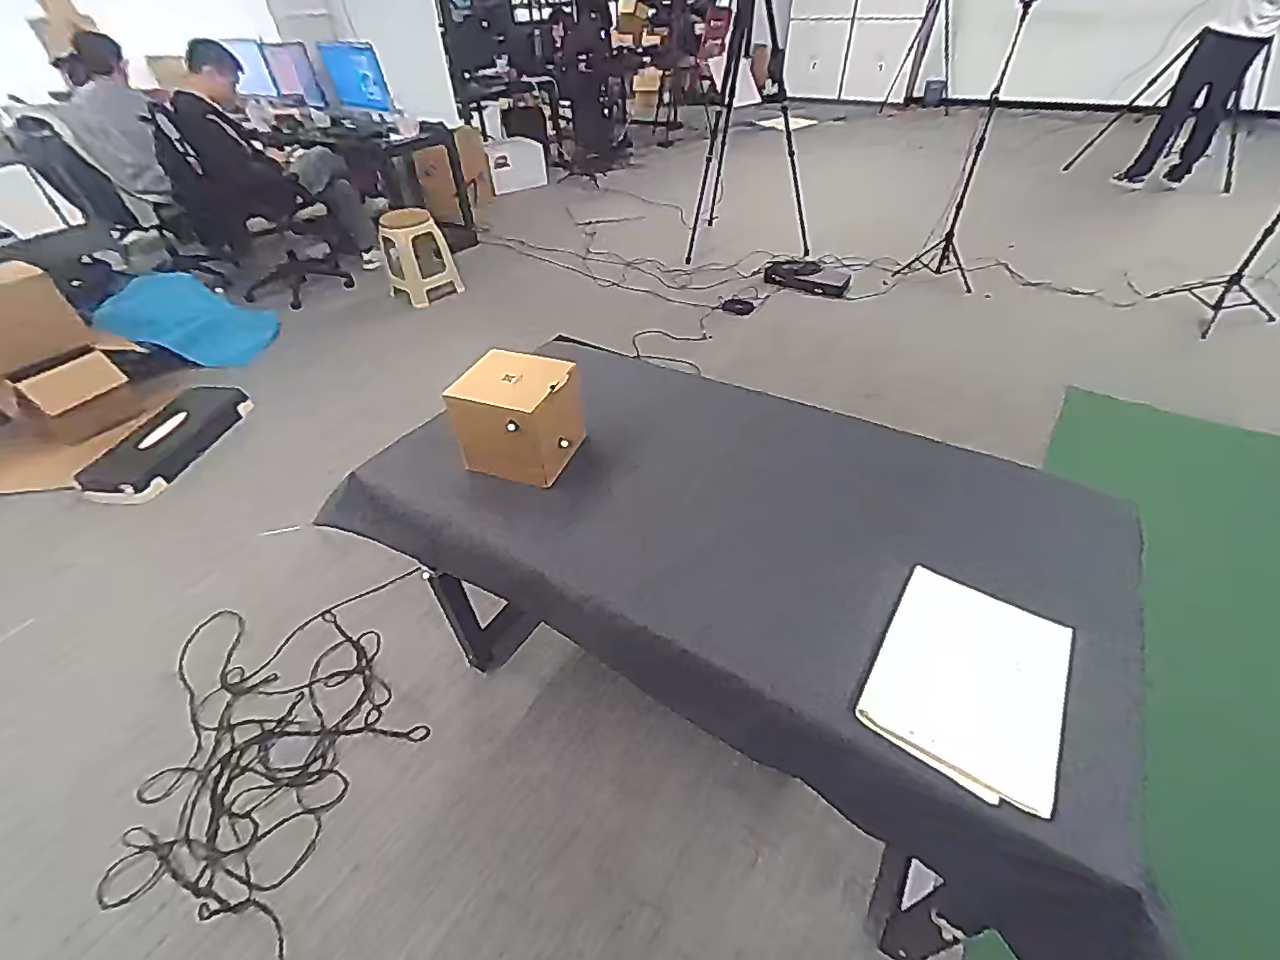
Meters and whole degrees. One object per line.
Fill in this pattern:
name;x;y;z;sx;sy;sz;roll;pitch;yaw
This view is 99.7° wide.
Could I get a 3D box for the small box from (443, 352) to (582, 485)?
small box;-0.220;-0.112;0.985;0.179;0.176;0.168;12;44;16
